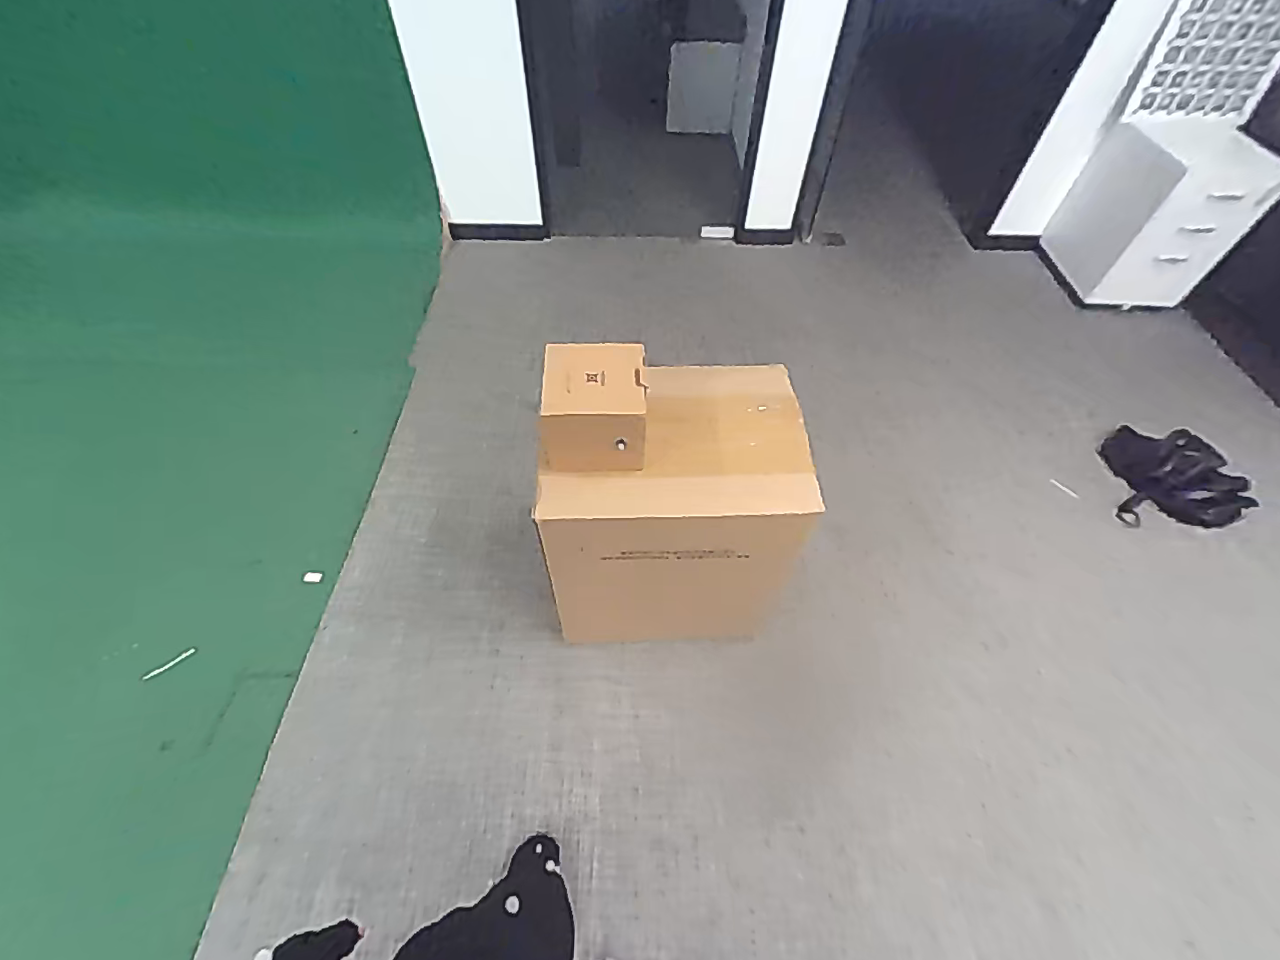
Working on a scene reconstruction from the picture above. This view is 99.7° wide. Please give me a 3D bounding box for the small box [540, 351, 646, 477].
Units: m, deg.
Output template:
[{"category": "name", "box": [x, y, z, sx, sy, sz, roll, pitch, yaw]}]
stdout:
[{"category": "small box", "box": [-0.081, -0.117, 0.996, 0.179, 0.176, 0.168, -3, 56, -1]}]
